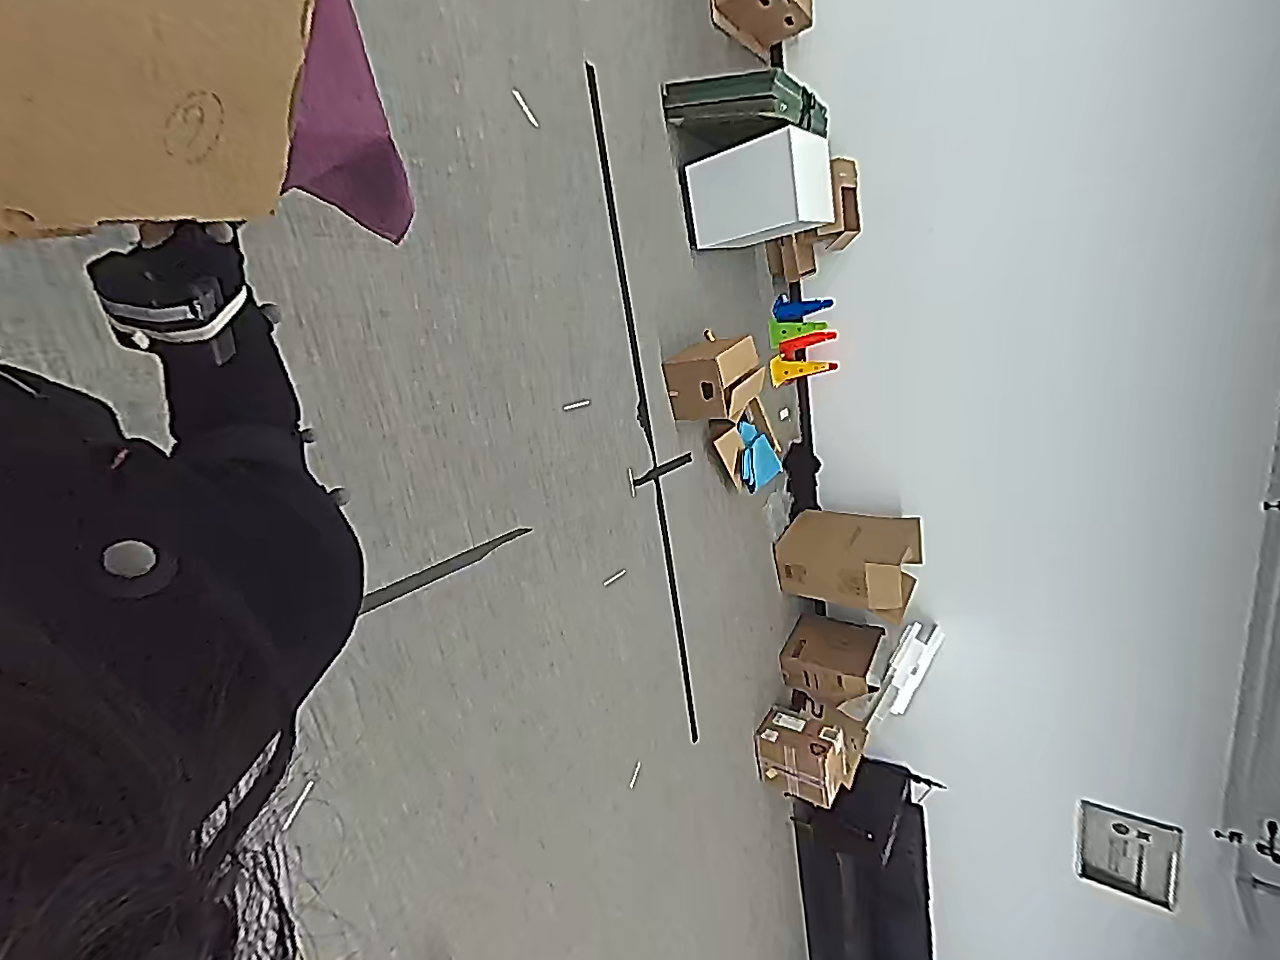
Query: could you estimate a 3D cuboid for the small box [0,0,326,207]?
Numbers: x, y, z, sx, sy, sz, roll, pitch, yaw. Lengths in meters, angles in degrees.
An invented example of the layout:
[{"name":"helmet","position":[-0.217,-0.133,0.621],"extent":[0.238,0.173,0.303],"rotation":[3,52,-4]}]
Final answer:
[{"name":"small box","position":[-0.190,-0.186,0.107],"extent":[0.176,0.179,0.168],"rotation":[48,37,-2]}]
